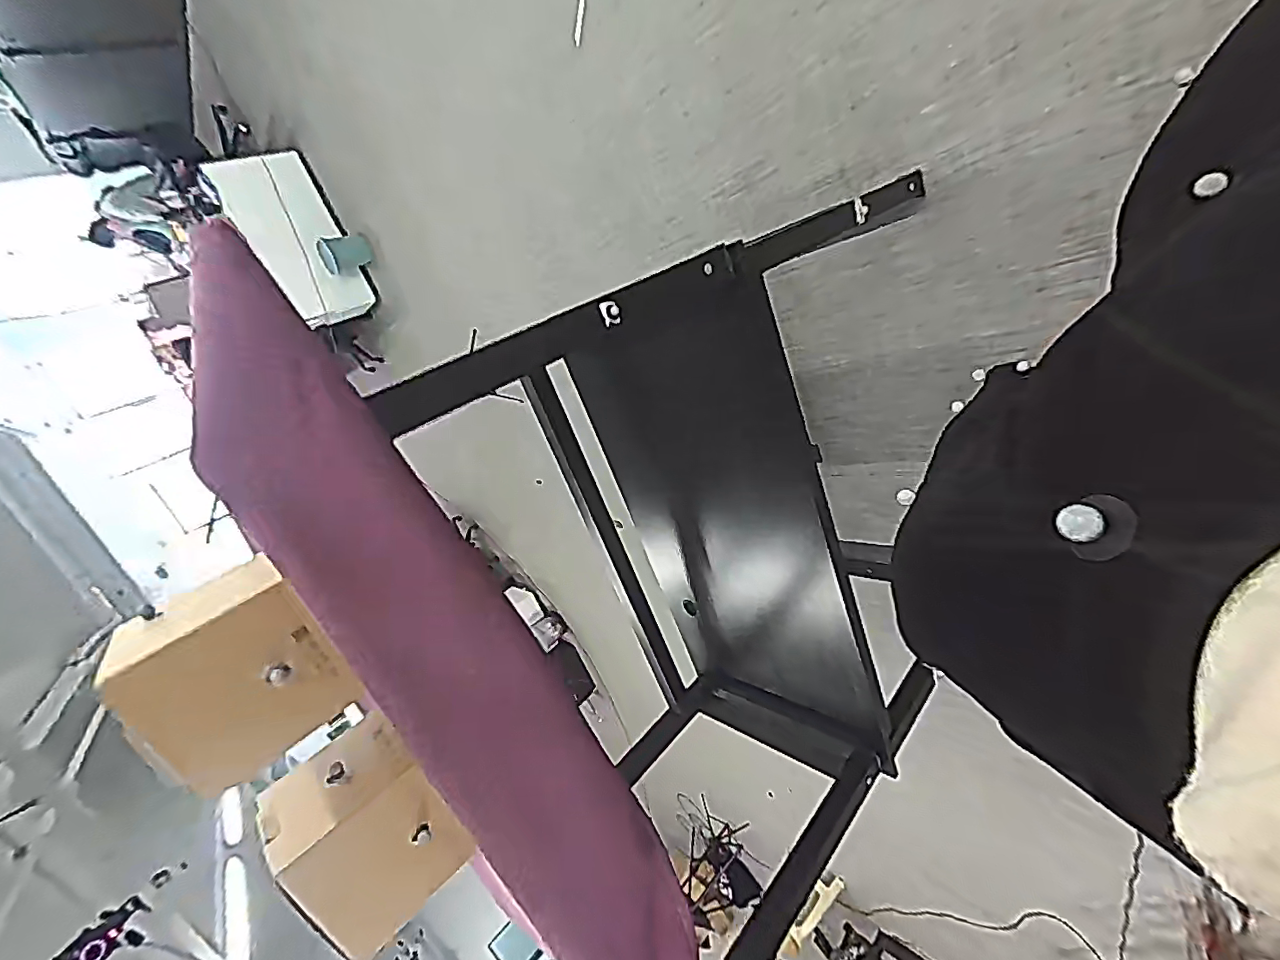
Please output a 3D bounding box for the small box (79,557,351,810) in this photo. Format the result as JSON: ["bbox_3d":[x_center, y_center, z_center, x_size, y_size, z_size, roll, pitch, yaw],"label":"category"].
[{"bbox_3d":[-0.454,0.206,0.603,0.179,0.176,0.168,7,125,50],"label":"small box"}]

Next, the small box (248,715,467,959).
[{"bbox_3d":[-0.353,0.441,0.688,0.168,0.176,0.179,8,124,50],"label":"small box"}]
